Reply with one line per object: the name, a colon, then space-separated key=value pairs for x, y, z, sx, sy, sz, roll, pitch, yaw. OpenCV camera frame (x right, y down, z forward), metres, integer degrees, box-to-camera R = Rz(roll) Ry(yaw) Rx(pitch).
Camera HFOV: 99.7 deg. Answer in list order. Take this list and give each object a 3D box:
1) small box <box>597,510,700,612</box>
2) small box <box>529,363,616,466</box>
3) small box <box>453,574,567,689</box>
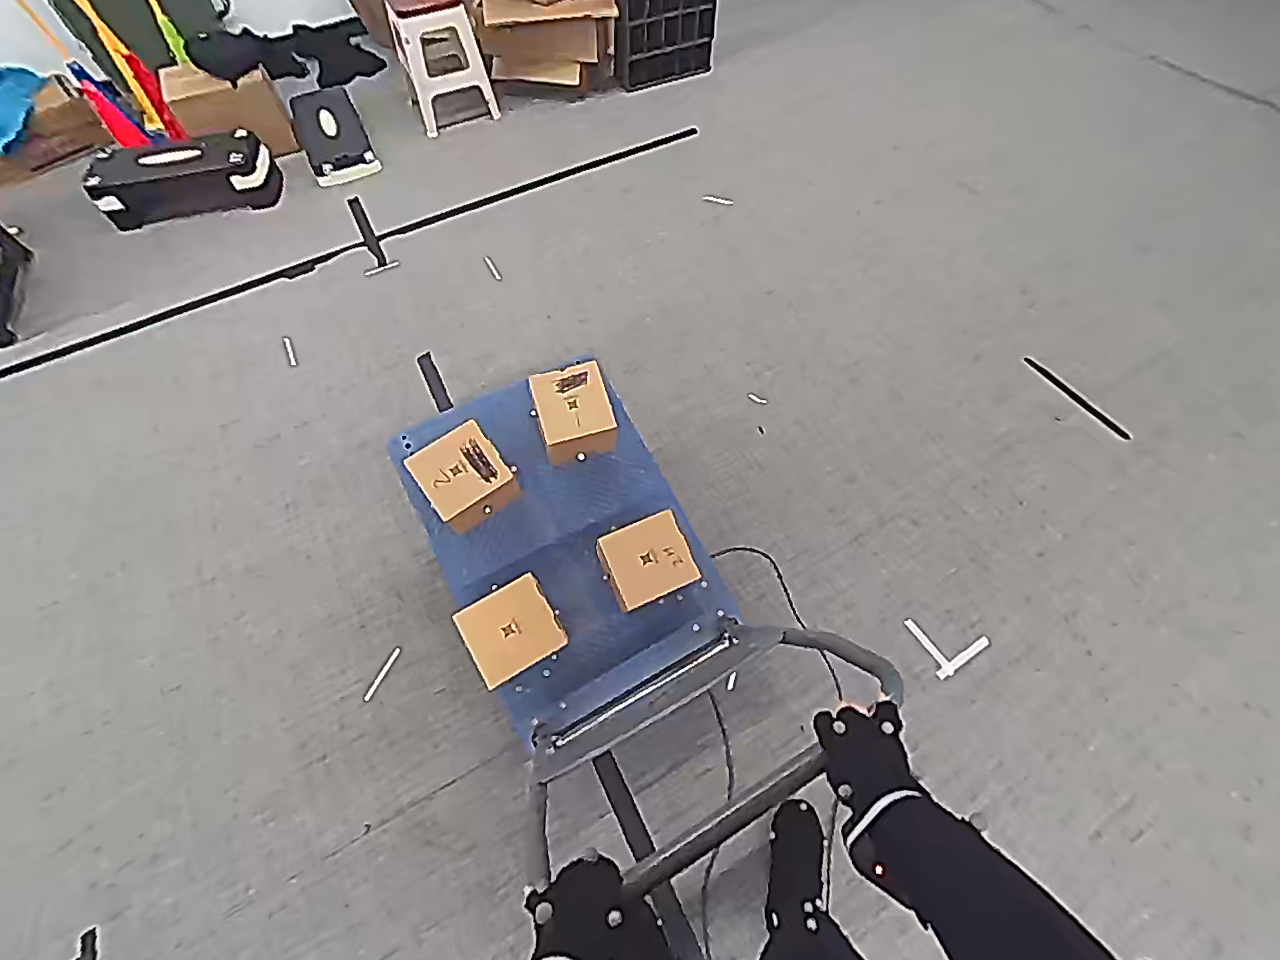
small box: x=0.011 y=0.190 z=1.225 sx=0.179 sy=0.176 sz=0.168 roll=-22 pitch=78 yaw=-12
small box: x=-0.165 y=-0.153 z=1.304 sx=0.168 sy=0.176 sz=0.179 roll=-16 pitch=77 yaw=-11
small box: x=-0.268 y=0.323 z=1.155 sx=0.179 sy=0.176 sz=0.168 roll=-29 pitch=79 yaw=-15
